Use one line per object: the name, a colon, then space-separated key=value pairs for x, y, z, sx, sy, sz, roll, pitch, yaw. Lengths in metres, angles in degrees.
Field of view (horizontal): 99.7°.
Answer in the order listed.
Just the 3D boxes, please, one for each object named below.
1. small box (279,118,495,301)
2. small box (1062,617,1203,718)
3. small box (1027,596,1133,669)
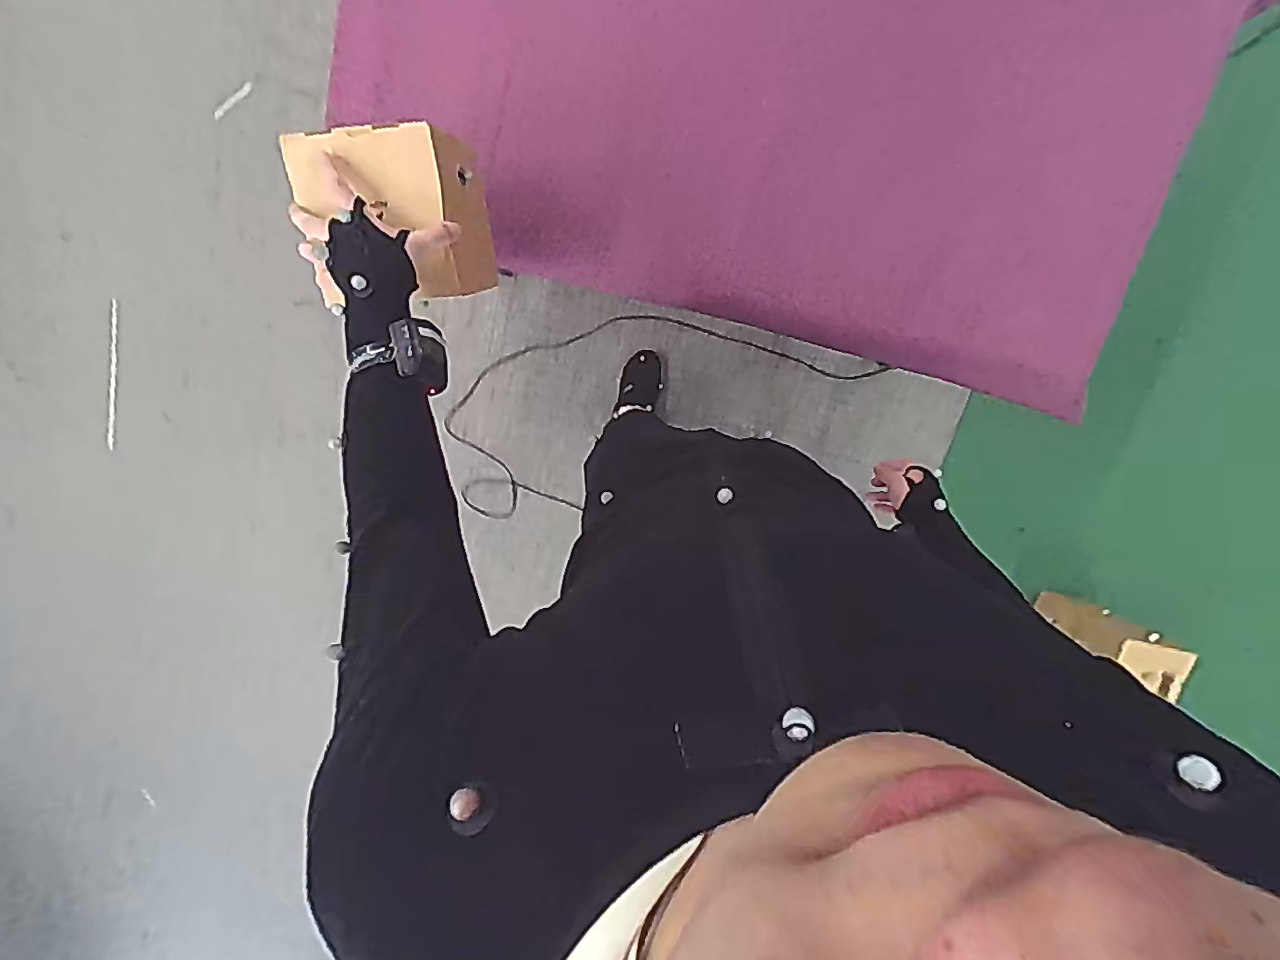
small box: x=-0.292 y=-0.322 z=0.668 sx=0.168 sy=0.176 sz=0.179 roll=-2 pitch=113 yaw=4
small box: x=1.247 y=0.470 z=1.383 sx=0.179 sy=0.176 sz=0.168 roll=13 pitch=101 yaw=2
small box: x=1.263 y=0.449 z=1.546 sx=0.179 sy=0.176 sz=0.168 roll=16 pitch=101 yaw=0
